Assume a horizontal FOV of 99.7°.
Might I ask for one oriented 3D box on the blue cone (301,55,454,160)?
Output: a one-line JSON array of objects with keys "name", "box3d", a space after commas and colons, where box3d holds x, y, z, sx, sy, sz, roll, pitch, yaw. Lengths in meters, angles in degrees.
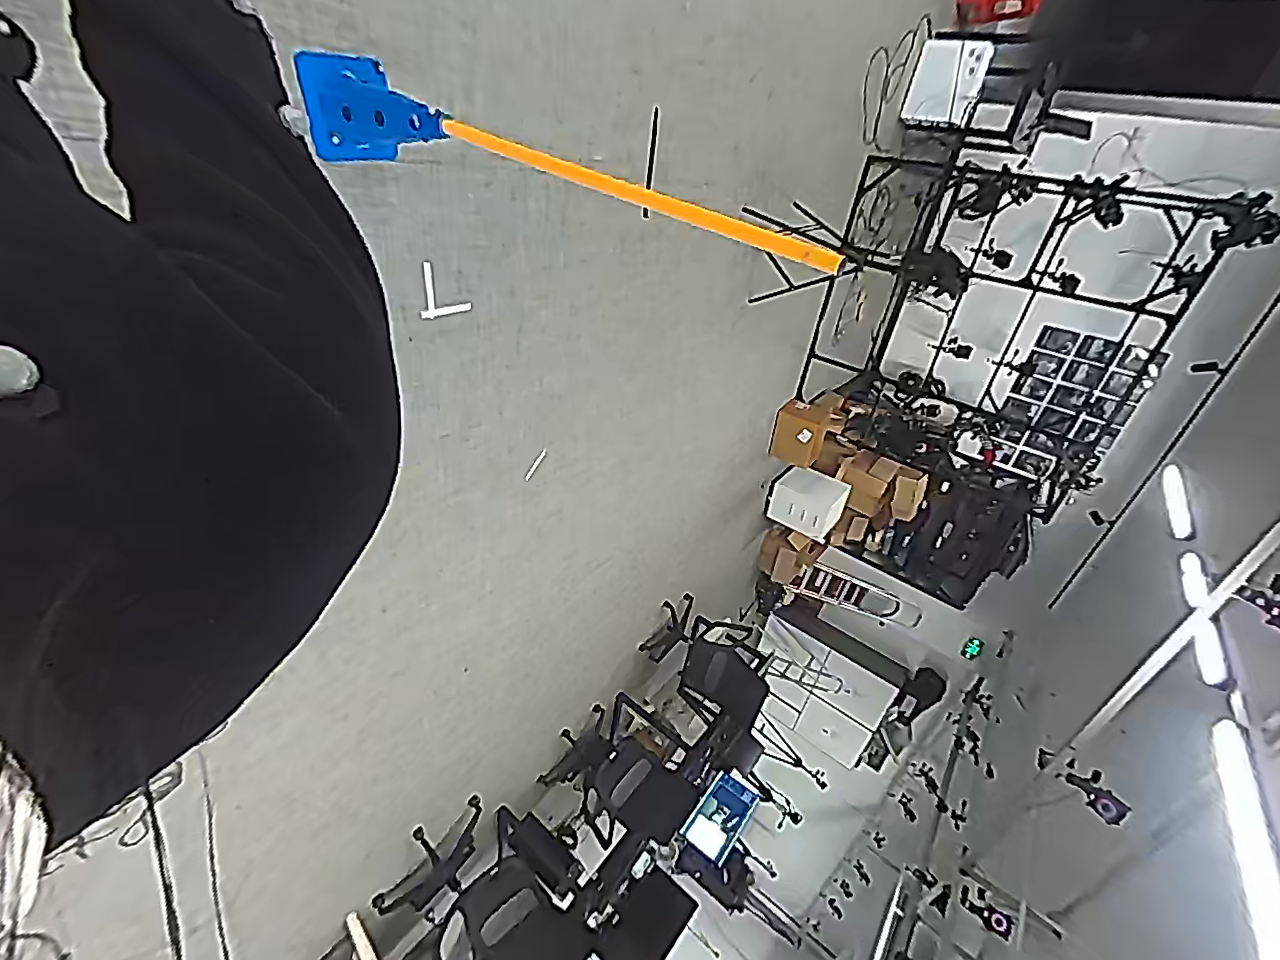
[{"name": "blue cone", "box3d": [-0.523, -0.774, 1.149, 0.193, 0.380, 0.192, -33, 140, -43]}]
